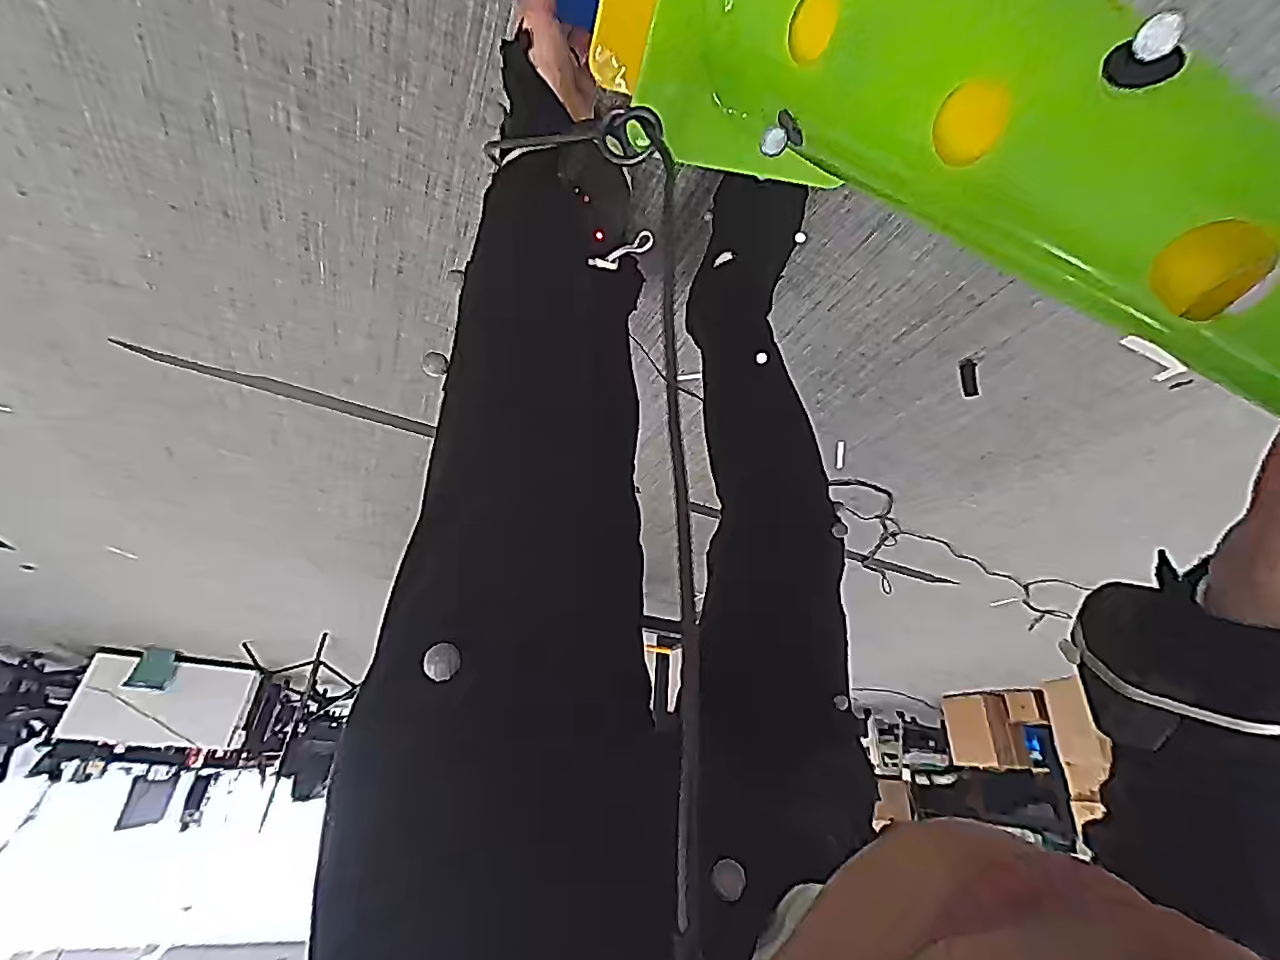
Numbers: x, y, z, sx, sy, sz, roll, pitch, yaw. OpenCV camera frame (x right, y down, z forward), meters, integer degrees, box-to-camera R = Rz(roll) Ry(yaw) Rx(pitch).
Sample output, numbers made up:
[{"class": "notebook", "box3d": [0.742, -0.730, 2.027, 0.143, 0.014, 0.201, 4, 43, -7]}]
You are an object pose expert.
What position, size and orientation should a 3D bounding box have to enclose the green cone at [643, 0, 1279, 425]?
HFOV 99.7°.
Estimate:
[{"class": "green cone", "box3d": [0.167, -0.148, 0.229, 0.200, 0.368, 0.202, -6, 145, -24]}]
